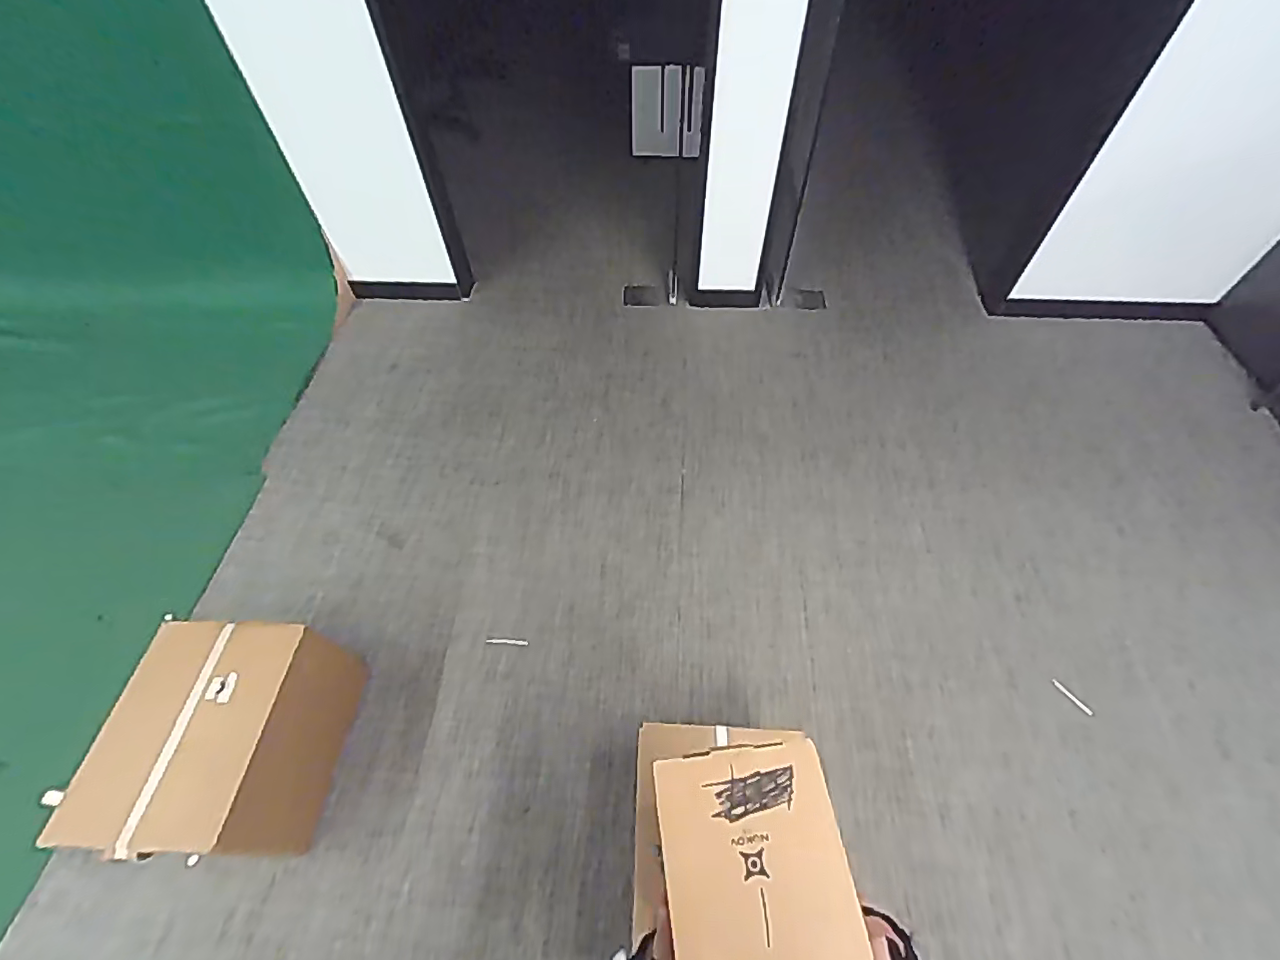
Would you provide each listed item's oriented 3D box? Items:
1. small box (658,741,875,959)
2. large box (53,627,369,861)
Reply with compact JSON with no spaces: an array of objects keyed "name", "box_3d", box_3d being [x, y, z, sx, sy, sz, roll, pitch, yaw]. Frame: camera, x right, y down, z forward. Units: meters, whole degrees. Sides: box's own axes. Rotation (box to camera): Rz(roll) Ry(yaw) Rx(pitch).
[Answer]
[{"name":"small box","box_3d":[0.109,0.389,0.557,0.168,0.176,0.179,-8,55,-2]},{"name":"large box","box_3d":[-0.852,0.565,1.156,0.320,0.320,0.408,1,53,2]}]
